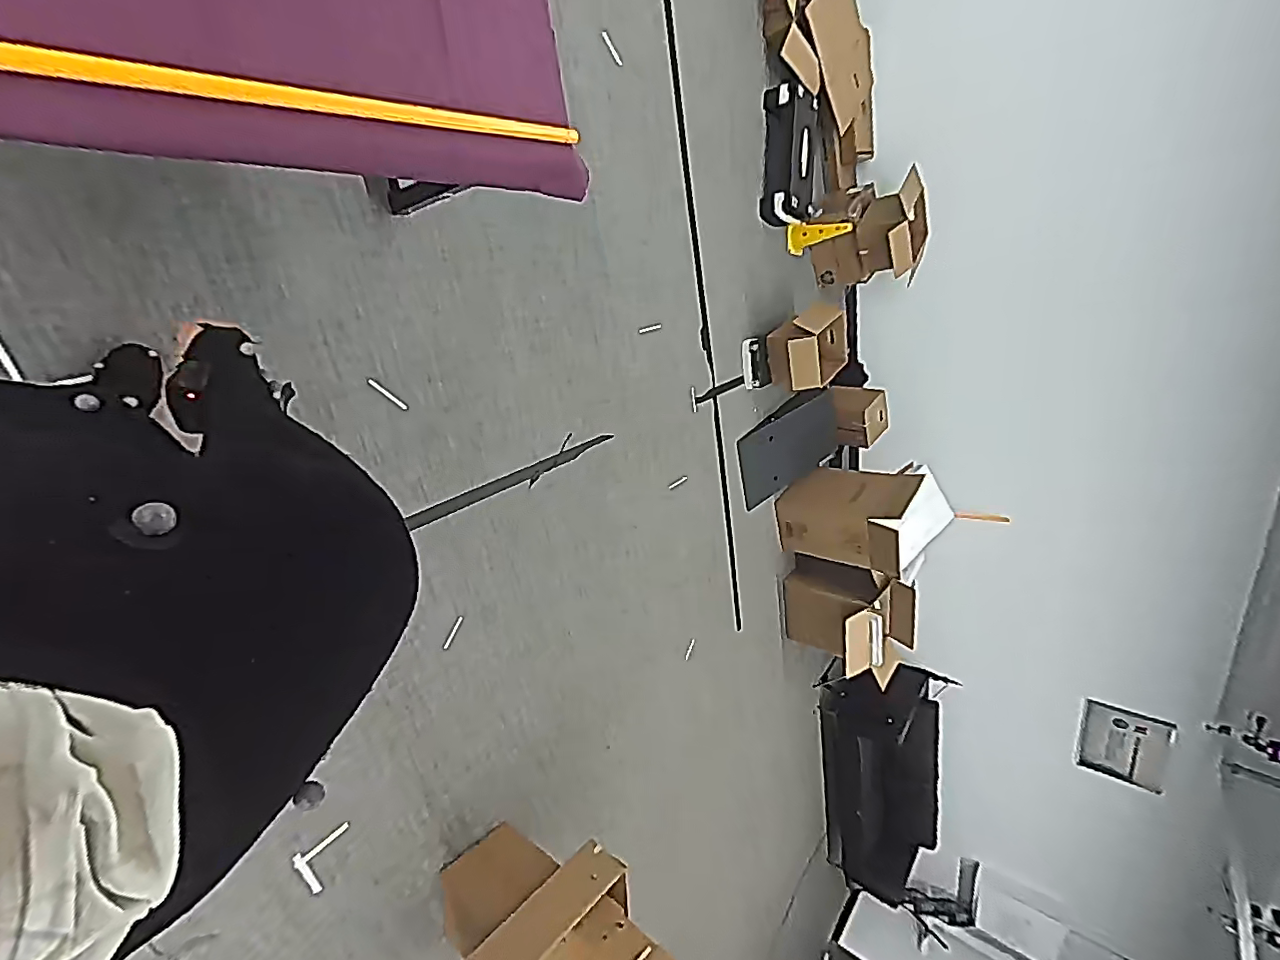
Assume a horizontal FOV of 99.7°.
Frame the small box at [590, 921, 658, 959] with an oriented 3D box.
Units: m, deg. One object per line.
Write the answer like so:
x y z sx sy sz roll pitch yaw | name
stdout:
-0.059 1.639 1.813 0.168 0.176 0.179 -8 104 -48 | small box

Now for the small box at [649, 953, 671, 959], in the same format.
0.063 1.657 1.705 0.168 0.176 0.179 -1 99 -49 | small box
